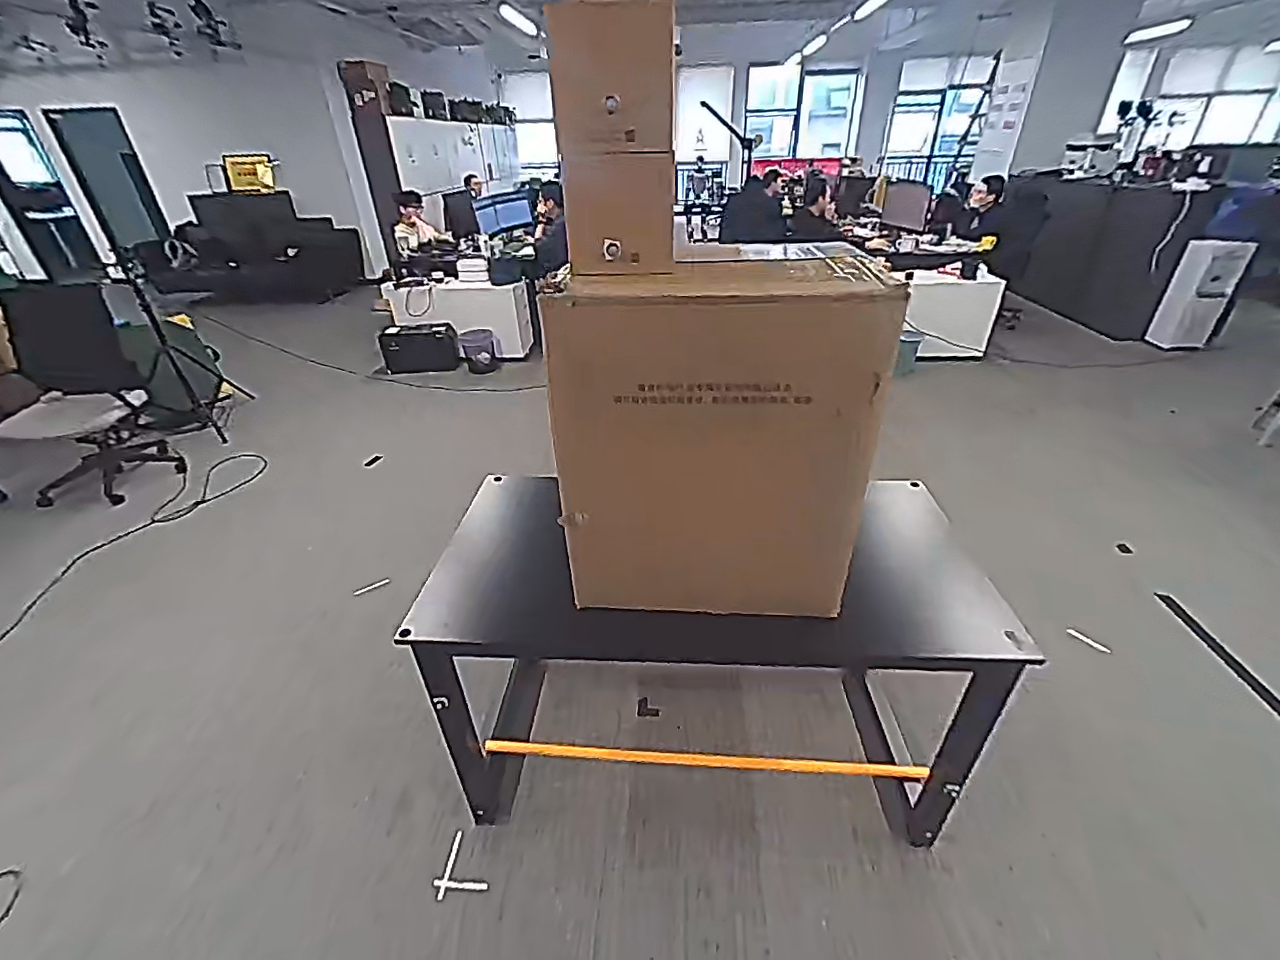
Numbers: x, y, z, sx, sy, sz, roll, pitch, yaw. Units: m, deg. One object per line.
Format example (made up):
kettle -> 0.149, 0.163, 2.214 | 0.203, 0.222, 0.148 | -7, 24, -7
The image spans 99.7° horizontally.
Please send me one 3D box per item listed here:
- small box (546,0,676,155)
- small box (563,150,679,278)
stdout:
small box -> -0.033, -0.571, 0.783 | 0.168, 0.176, 0.179 | -1, 33, 2
small box -> -0.027, -0.433, 0.874 | 0.168, 0.176, 0.179 | -2, 34, 0
